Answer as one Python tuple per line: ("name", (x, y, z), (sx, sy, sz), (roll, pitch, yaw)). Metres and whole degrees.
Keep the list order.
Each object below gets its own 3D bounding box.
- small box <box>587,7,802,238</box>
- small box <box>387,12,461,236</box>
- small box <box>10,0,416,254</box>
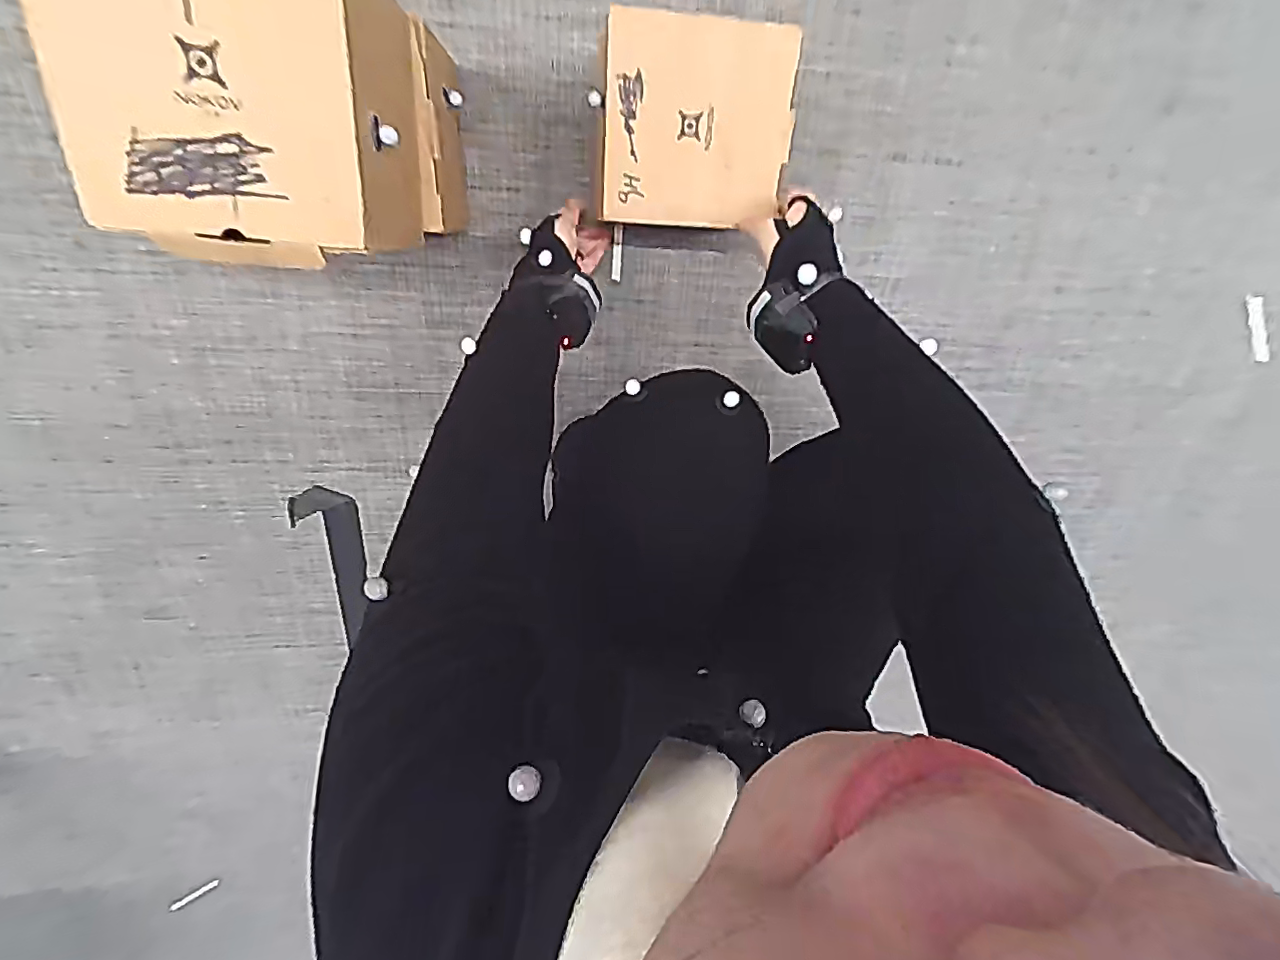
("small box", (0.040, -0.353, 0.566), (0.179, 0.176, 0.168), (0, 115, -9))
("small box", (-0.278, -0.336, 0.528), (0.179, 0.176, 0.168), (-1, 115, -8))
("small box", (-0.266, -0.264, 0.382), (0.168, 0.176, 0.179), (2, 113, -10))
